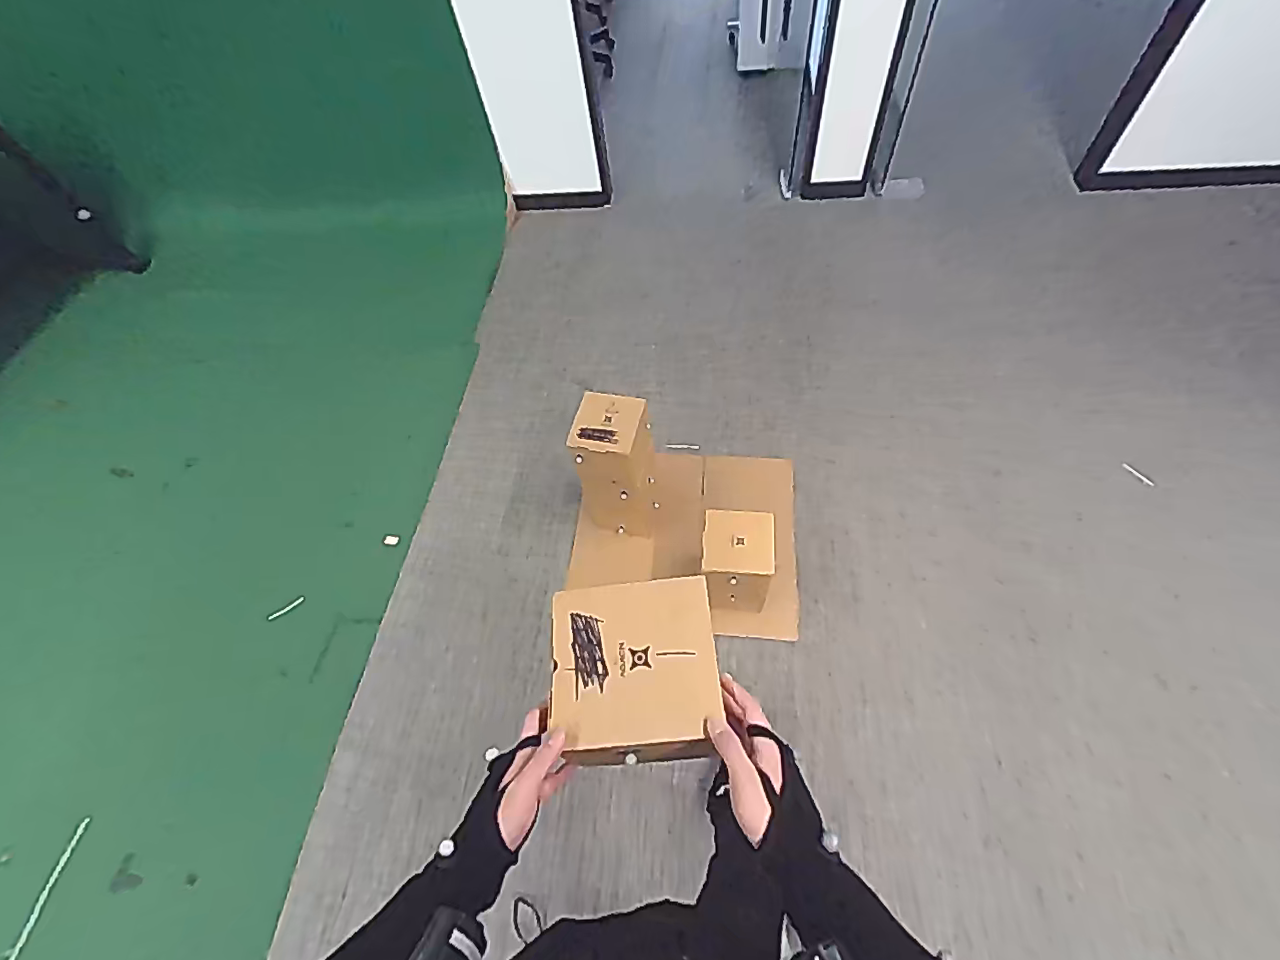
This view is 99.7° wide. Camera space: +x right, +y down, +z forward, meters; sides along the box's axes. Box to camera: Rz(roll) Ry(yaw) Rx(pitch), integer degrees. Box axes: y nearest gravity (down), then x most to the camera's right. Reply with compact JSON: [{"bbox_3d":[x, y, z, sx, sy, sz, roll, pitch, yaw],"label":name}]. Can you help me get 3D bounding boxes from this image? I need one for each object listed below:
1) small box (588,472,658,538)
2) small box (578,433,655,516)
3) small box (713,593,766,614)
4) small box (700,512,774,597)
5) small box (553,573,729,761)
[{"bbox_3d":[-0.045,0.068,1.699,0.179,0.176,0.168,10,60,12],"label":"small box"},{"bbox_3d":[-0.058,-0.011,1.554,0.179,0.176,0.168,10,60,12],"label":"small box"},{"bbox_3d":[0.267,0.274,1.541,0.179,0.176,0.168,3,60,9],"label":"small box"},{"bbox_3d":[0.250,0.197,1.400,0.179,0.176,0.168,2,60,9],"label":"small box"},{"bbox_3d":[0.006,0.223,0.629,0.179,0.176,0.168,-6,57,3],"label":"small box"}]
